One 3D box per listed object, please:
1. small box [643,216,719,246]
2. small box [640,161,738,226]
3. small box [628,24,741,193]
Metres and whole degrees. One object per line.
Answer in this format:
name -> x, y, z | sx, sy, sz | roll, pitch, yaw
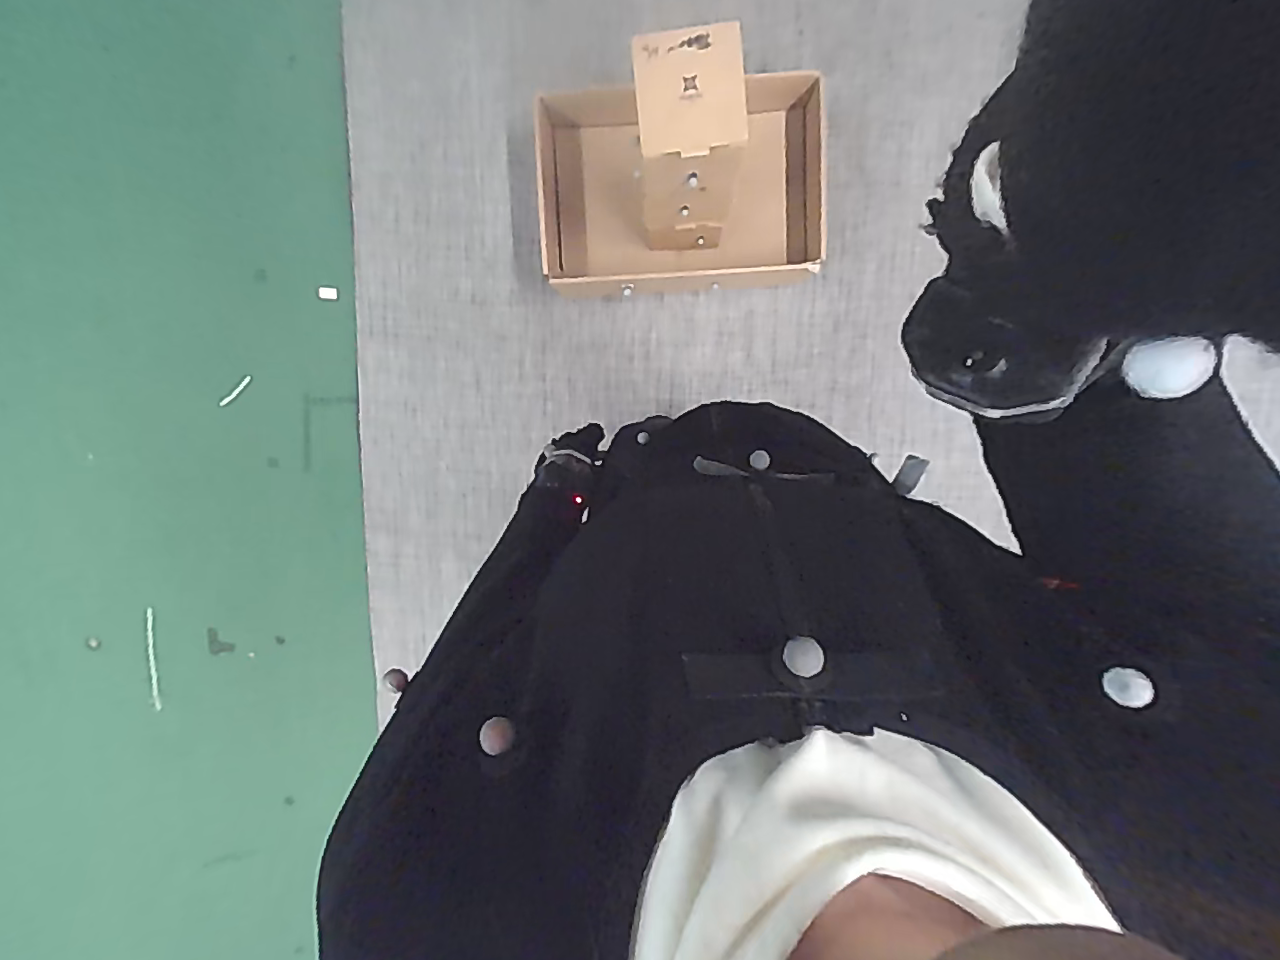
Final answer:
small box -> 0.094, -0.641, 1.226 | 0.168, 0.176, 0.179 | -1, 96, 3
small box -> 0.087, -0.618, 1.065 | 0.179, 0.176, 0.168 | -6, 97, 3
small box -> 0.074, -0.600, 0.903 | 0.168, 0.176, 0.179 | -5, 97, 4
